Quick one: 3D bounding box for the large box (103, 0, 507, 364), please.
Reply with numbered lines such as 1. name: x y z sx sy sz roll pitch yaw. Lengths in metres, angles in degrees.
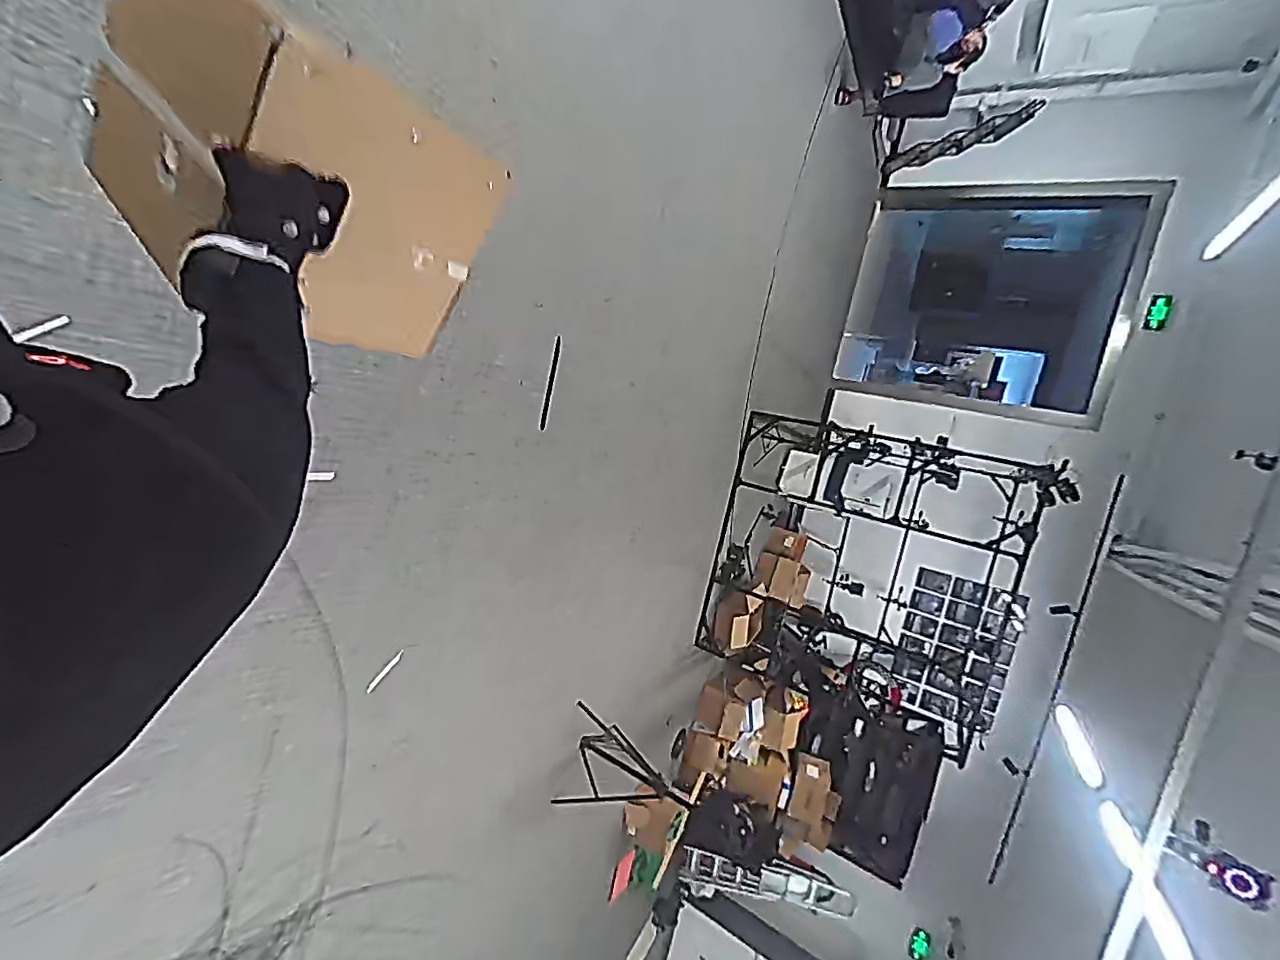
1. large box: -0.476 -0.418 0.778 0.320 0.408 0.320 -57 156 20
